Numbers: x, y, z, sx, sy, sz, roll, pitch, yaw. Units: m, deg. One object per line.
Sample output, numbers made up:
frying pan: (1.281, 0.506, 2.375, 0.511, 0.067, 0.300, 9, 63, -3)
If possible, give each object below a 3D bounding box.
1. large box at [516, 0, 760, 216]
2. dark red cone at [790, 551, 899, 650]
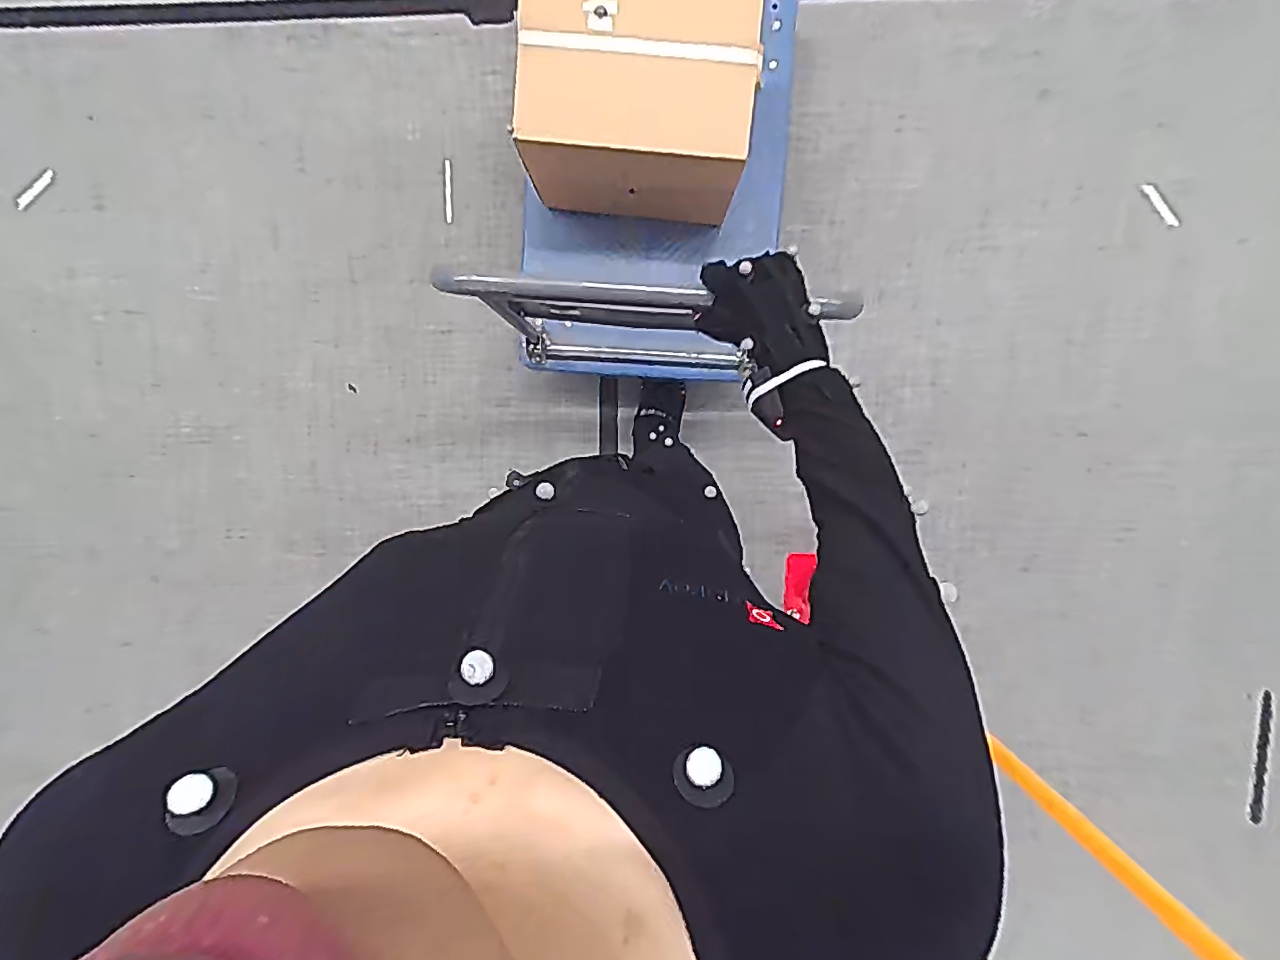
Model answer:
large box: (0.000, -0.737, 1.056, 0.408, 0.320, 0.320, 5, 96, 1)
dark red cone: (0.503, 0.307, 1.284, 0.201, 0.394, 0.202, 0, 96, -1)
